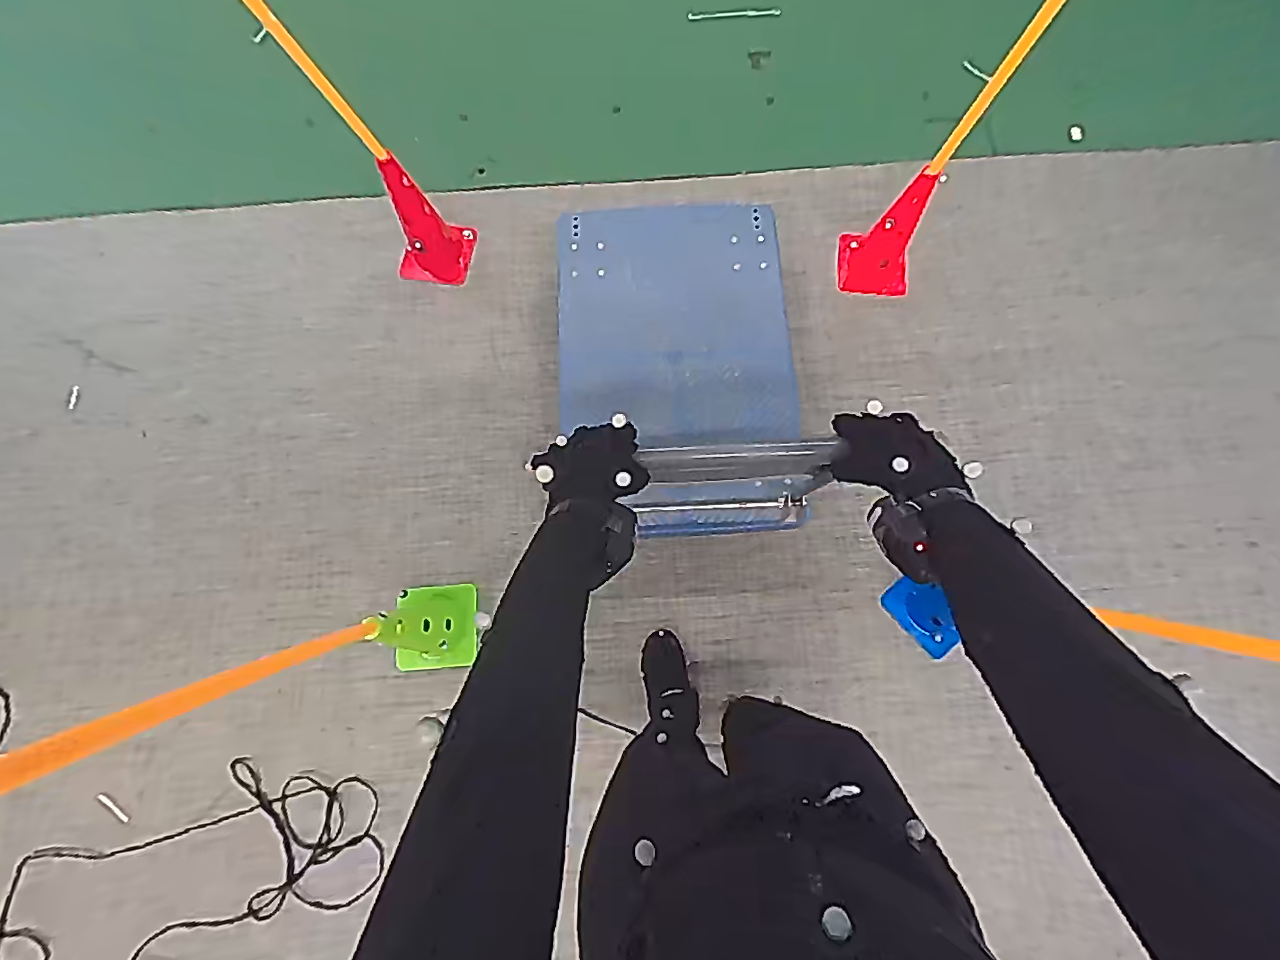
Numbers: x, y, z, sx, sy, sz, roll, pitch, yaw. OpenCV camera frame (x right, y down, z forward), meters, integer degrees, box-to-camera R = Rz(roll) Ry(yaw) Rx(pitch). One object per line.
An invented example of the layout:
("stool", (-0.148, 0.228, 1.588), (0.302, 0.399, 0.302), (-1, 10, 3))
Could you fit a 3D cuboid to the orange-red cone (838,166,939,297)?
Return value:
("orange-red cone", (0.687, -0.676, 1.436), (0.198, 0.360, 0.199), (7, 77, 3))
